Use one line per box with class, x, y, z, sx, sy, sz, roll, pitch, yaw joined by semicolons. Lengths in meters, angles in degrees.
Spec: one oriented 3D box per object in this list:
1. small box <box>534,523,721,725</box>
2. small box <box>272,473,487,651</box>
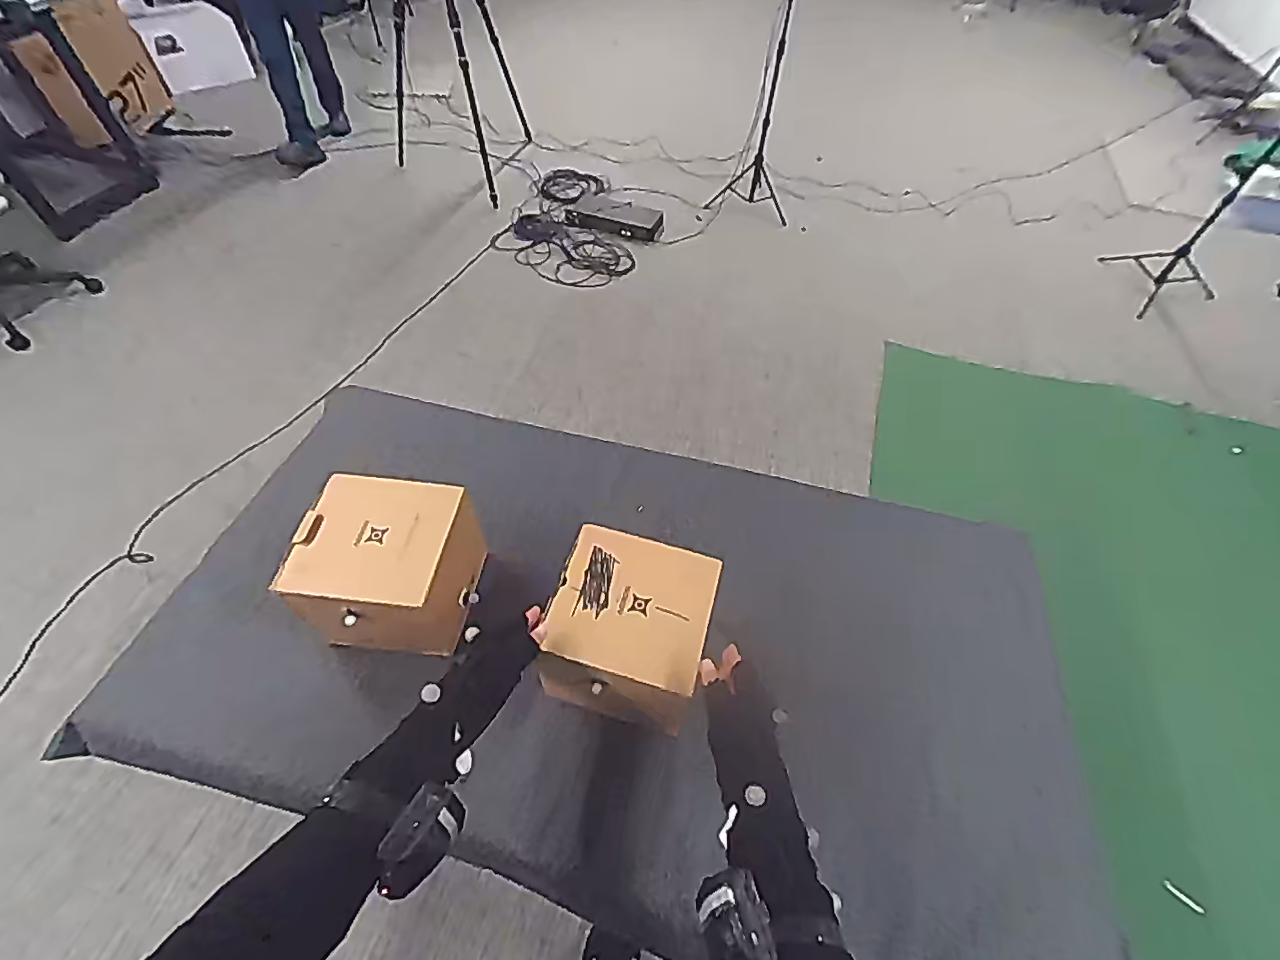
small box;-0.013;0.183;0.669;0.179;0.176;0.168;15;54;7
small box;-0.319;0.112;0.708;0.179;0.176;0.168;7;54;1
